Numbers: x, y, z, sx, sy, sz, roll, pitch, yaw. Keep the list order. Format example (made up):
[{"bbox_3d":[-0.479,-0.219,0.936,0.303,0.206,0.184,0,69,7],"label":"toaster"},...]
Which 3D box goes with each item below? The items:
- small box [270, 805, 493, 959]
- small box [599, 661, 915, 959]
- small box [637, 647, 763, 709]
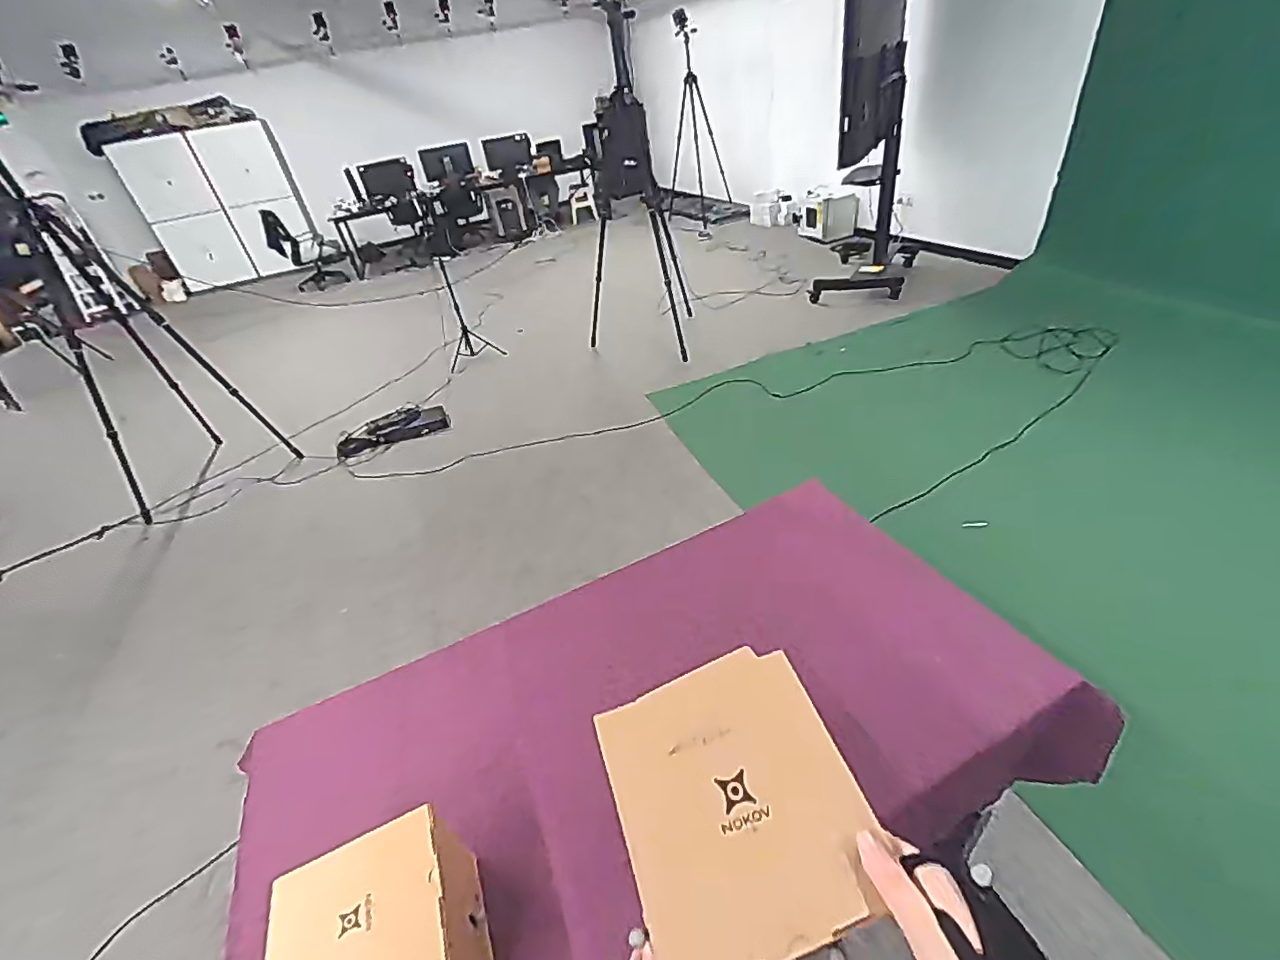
[{"bbox_3d":[-0.282,0.520,0.608,0.179,0.176,0.168,-21,37,-16],"label":"small box"},{"bbox_3d":[0.074,0.282,0.433,0.168,0.176,0.179,-15,47,-11],"label":"small box"},{"bbox_3d":[0.117,0.366,0.717,0.179,0.176,0.168,-20,38,-14],"label":"small box"}]
